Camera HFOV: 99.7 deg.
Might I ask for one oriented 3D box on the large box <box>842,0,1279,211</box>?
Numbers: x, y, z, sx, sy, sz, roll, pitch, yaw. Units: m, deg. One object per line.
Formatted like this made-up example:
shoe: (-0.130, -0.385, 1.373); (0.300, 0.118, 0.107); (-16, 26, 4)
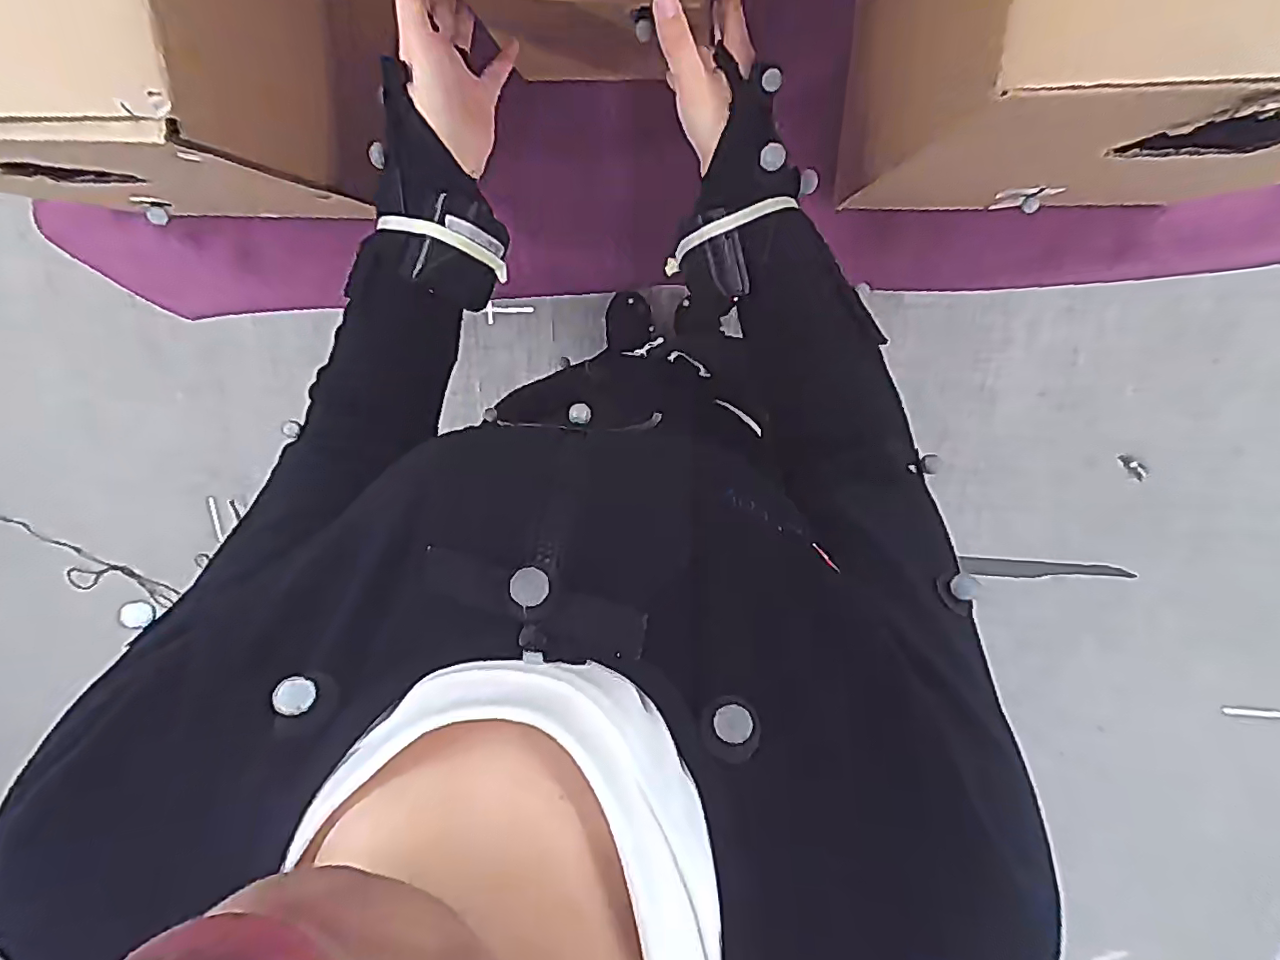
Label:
large box: (0.322, -0.403, 0.307); (0.320, 0.320, 0.408); (1, 107, 4)
